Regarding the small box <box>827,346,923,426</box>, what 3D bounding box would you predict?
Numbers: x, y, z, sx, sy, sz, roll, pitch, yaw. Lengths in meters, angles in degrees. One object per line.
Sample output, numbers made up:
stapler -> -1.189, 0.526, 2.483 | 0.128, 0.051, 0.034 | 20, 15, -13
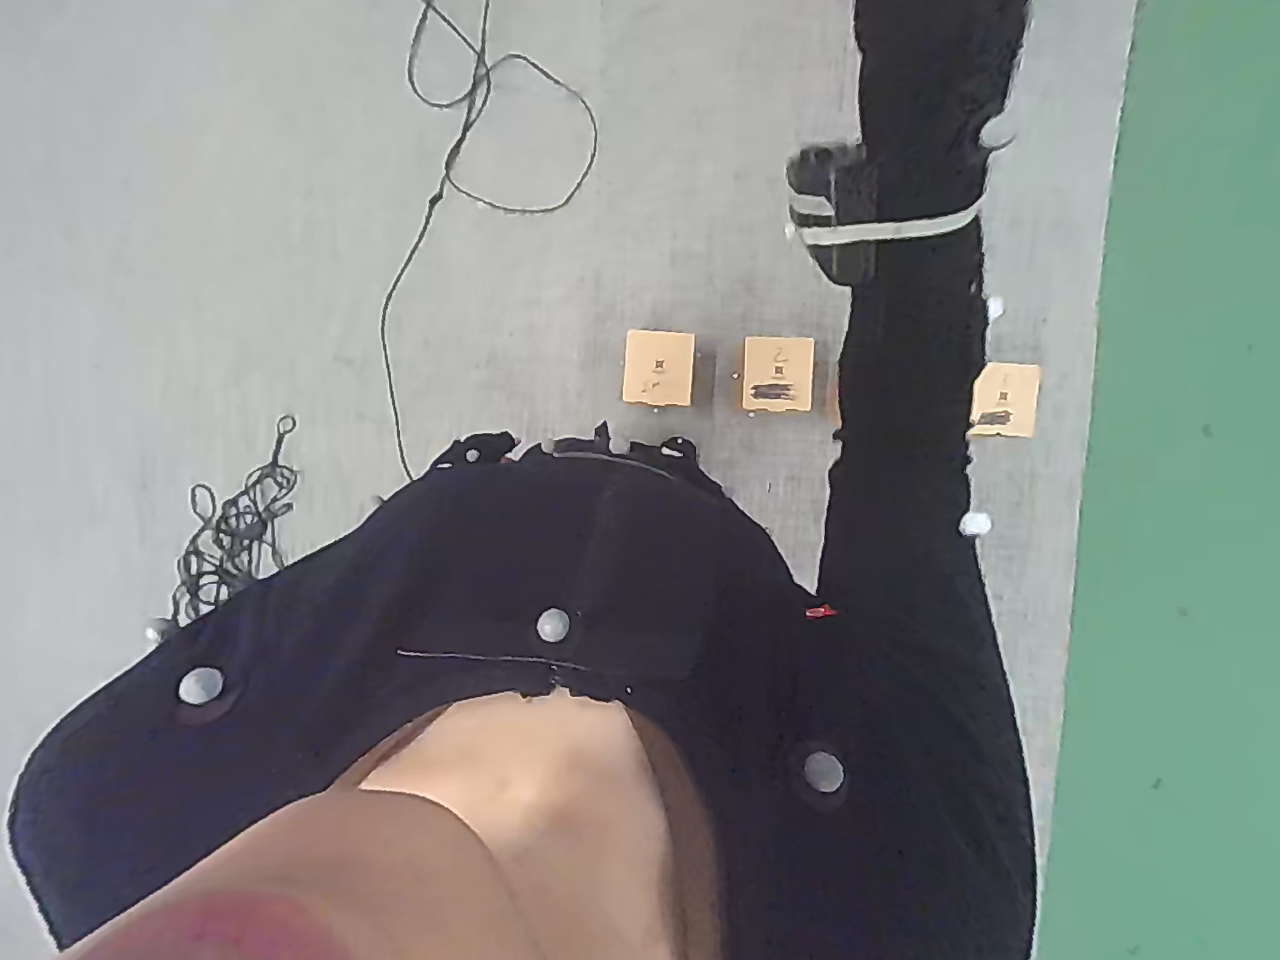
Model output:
small box -> 0.587, -0.233, 1.371 | 0.168, 0.176, 0.179 | 5, 95, 0

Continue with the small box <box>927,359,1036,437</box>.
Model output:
small box -> 0.855, -0.202, 1.370 | 0.168, 0.176, 0.179 | 4, 94, 0

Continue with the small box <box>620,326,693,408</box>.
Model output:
small box -> 0.041, -0.281, 1.372 | 0.168, 0.176, 0.179 | 4, 95, 1
